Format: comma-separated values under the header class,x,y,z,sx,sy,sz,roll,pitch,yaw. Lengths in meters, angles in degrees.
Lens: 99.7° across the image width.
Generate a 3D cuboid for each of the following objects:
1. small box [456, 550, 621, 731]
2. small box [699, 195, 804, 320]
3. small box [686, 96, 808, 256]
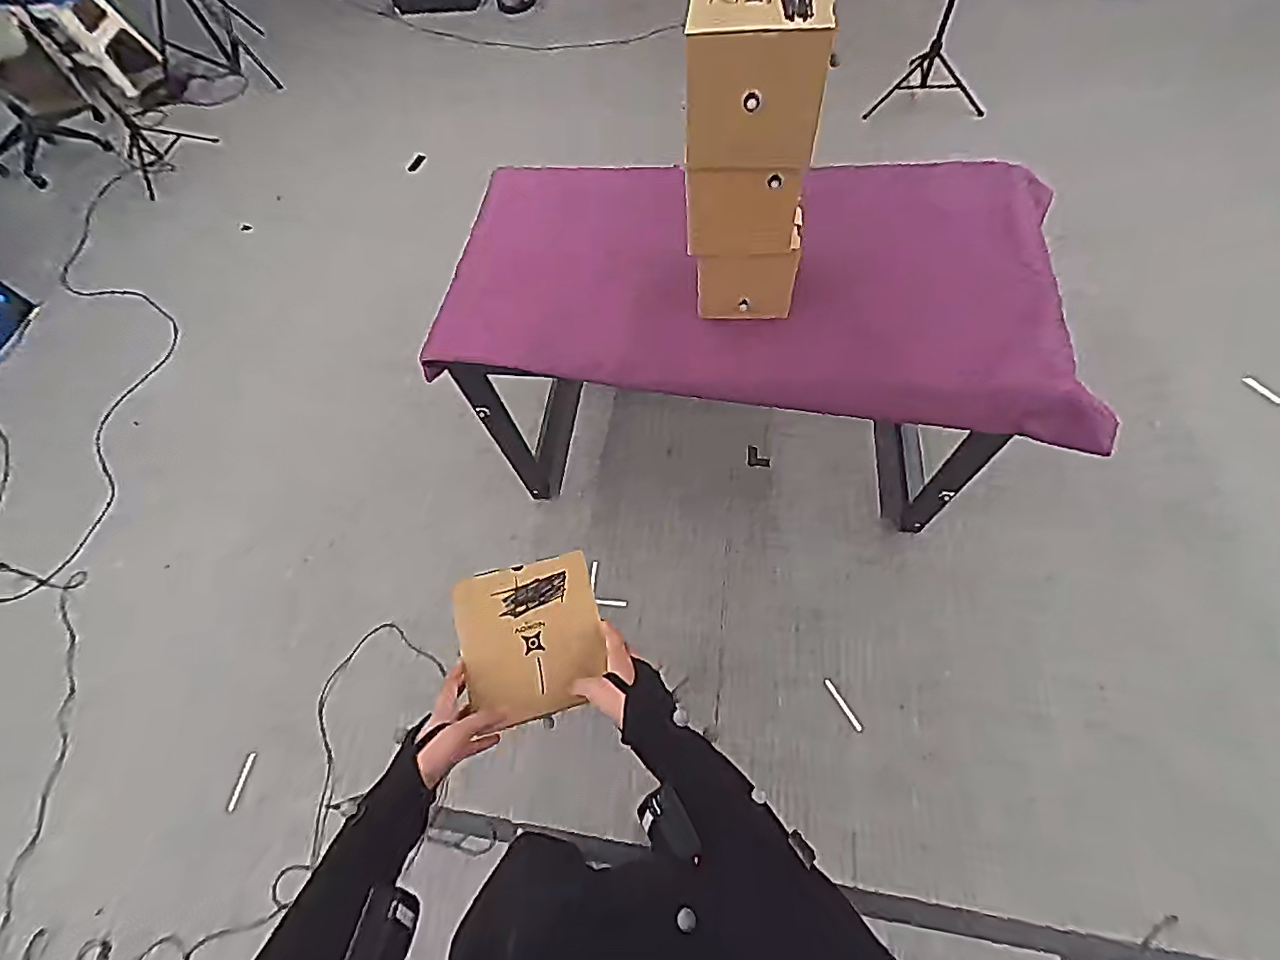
class,x,y,z,sx,sy,sz,roll,pitch,yaw
small box,-0.131,0.211,0.702,0.168,0.176,0.179,-12,70,-13
small box,0.205,-0.423,1.029,0.179,0.176,0.168,3,63,7
small box,0.169,-0.488,0.883,0.179,0.176,0.168,2,63,7
